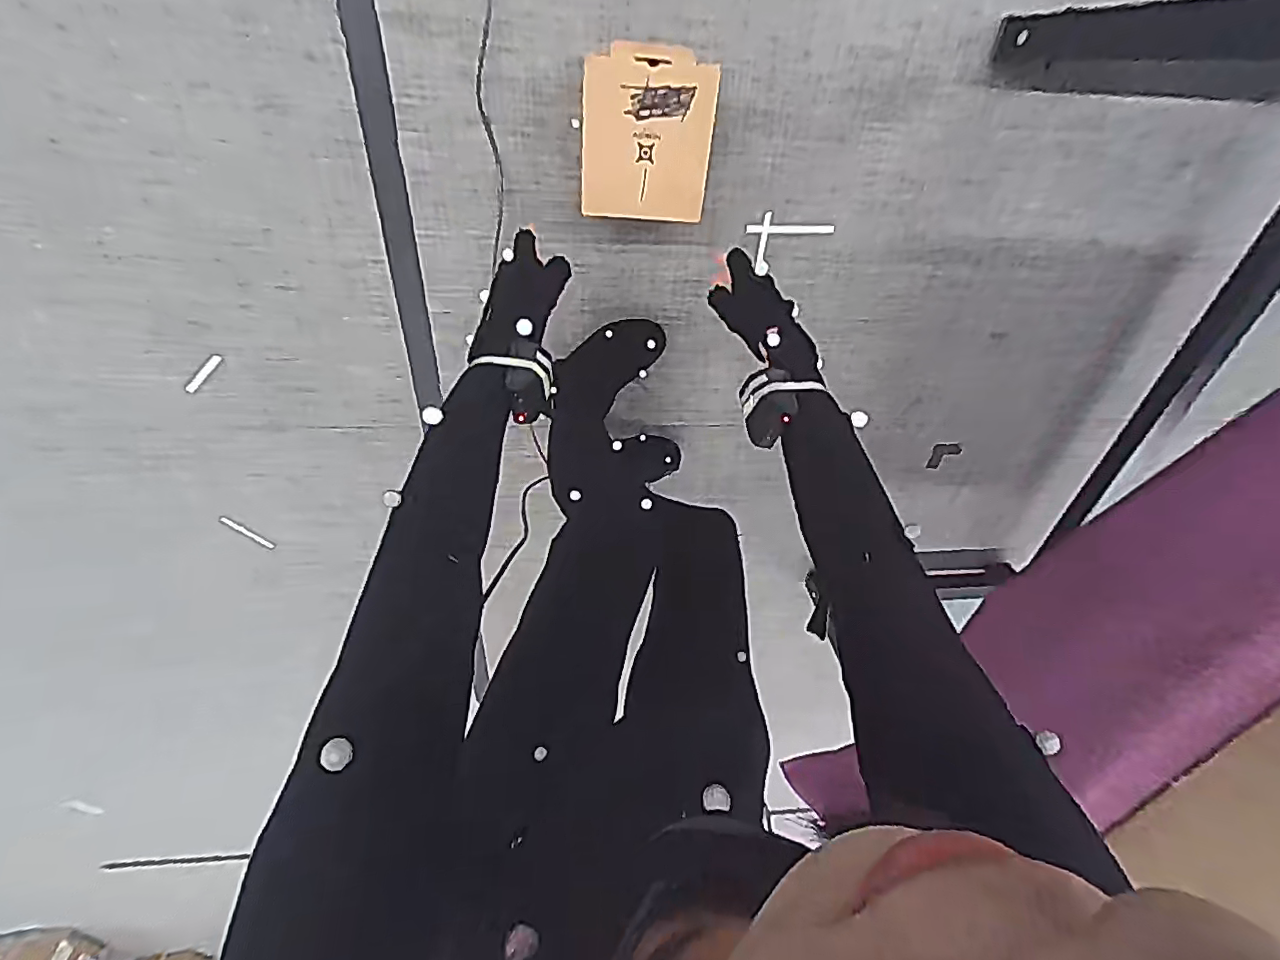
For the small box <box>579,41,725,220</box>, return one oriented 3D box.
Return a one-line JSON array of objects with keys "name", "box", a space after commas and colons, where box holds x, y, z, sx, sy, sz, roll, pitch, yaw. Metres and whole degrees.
[{"name": "small box", "box": [0.004, -0.472, 0.736, 0.168, 0.176, 0.179, 1, 127, -8]}]
